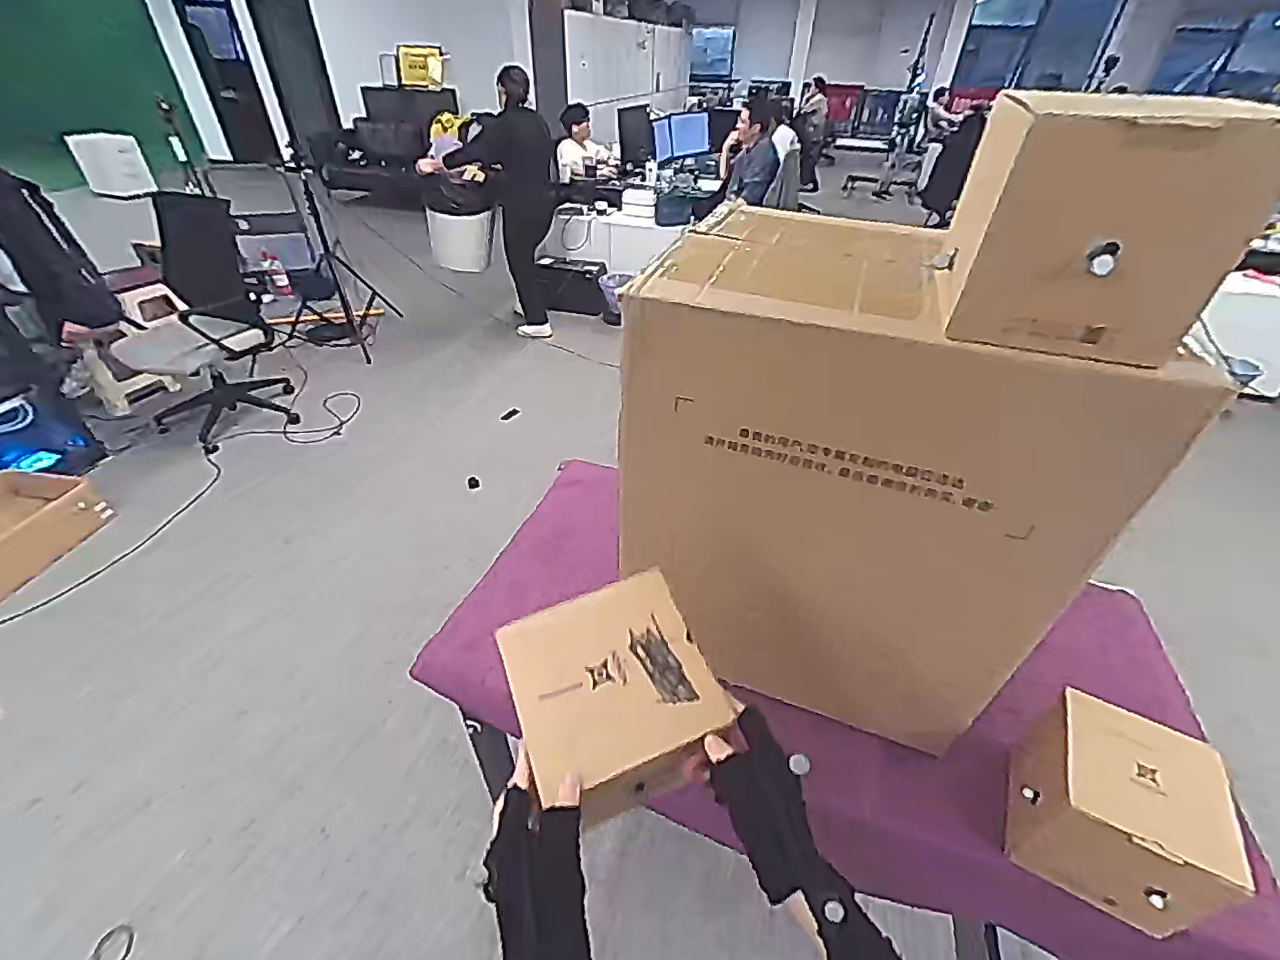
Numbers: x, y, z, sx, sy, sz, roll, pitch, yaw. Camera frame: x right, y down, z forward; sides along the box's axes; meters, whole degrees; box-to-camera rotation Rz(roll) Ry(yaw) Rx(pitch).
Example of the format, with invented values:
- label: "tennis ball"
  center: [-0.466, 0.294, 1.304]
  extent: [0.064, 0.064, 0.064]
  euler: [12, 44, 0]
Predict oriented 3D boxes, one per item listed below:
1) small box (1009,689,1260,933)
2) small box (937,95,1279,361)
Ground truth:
- label: "small box"
  center: [0.592, 0.412, 0.679]
  extent: [0.168, 0.176, 0.179]
  euler: [21, 40, 22]
- label: "small box"
  center: [0.375, -0.220, 0.465]
  extent: [0.168, 0.176, 0.179]
  euler: [13, 41, 15]
